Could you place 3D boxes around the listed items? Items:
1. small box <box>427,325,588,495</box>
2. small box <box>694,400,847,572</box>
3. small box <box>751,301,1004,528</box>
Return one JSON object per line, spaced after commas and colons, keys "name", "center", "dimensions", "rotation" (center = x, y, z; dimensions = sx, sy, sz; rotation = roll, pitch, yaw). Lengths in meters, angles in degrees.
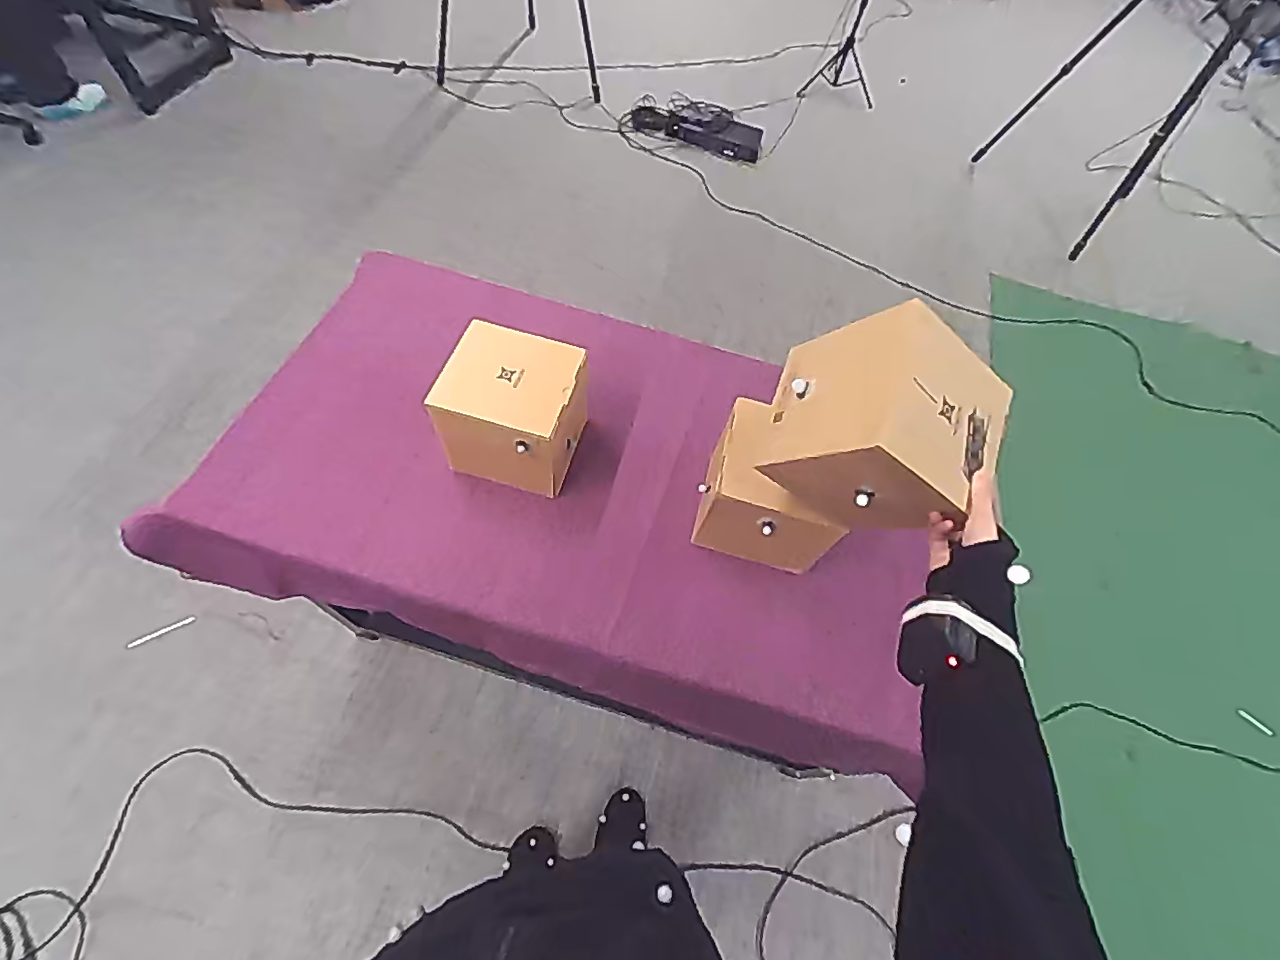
{"name": "small box", "center": [-0.186, -0.098, 0.812], "dimensions": [0.179, 0.176, 0.168], "rotation": [15, 59, 1]}
{"name": "small box", "center": [0.188, 0.016, 0.789], "dimensions": [0.179, 0.176, 0.168], "rotation": [17, 60, 2]}
{"name": "small box", "center": [0.256, -0.056, 0.596], "dimensions": [0.179, 0.176, 0.168], "rotation": [29, 70, -23]}
